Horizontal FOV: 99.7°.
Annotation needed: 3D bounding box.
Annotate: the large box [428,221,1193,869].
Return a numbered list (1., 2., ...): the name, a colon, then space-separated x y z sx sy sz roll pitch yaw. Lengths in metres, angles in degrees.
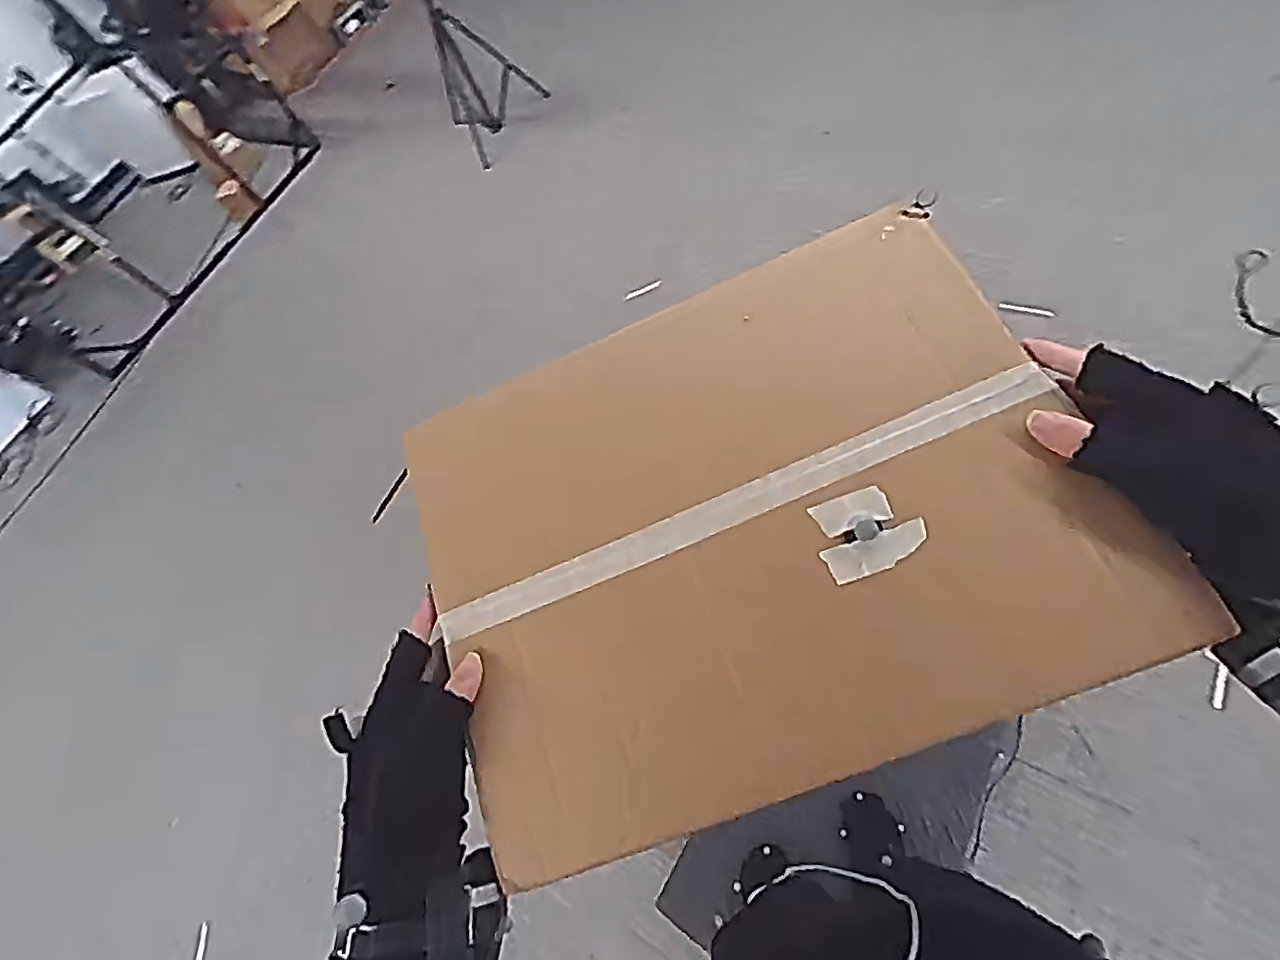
1. large box: 0.094 0.066 0.492 0.408 0.320 0.320 -23 69 5
